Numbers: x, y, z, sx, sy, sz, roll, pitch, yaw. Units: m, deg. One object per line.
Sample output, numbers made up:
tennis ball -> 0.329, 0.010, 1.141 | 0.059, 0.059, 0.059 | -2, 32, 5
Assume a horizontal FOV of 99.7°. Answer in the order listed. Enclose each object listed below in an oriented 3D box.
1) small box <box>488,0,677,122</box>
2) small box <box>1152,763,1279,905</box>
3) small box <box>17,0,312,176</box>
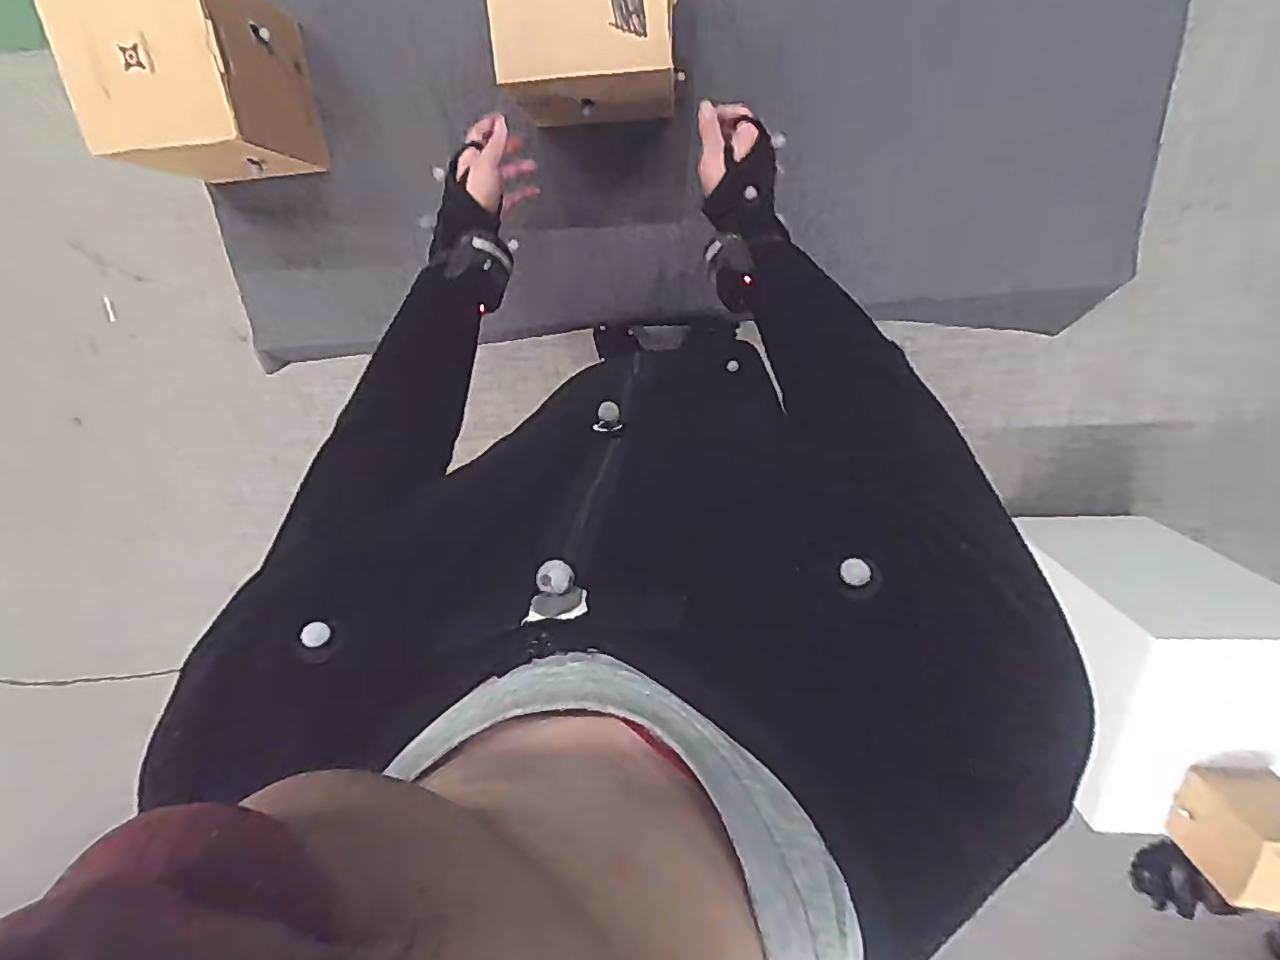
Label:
small box -> -0.052, -0.491, 0.562 | 0.179, 0.176, 0.168 | -1, 109, 4
small box -> 1.187, 0.700, 1.077 | 0.168, 0.176, 0.179 | 0, 110, 3
small box -> -0.500, -0.450, 0.598 | 0.179, 0.176, 0.168 | -3, 108, 5
